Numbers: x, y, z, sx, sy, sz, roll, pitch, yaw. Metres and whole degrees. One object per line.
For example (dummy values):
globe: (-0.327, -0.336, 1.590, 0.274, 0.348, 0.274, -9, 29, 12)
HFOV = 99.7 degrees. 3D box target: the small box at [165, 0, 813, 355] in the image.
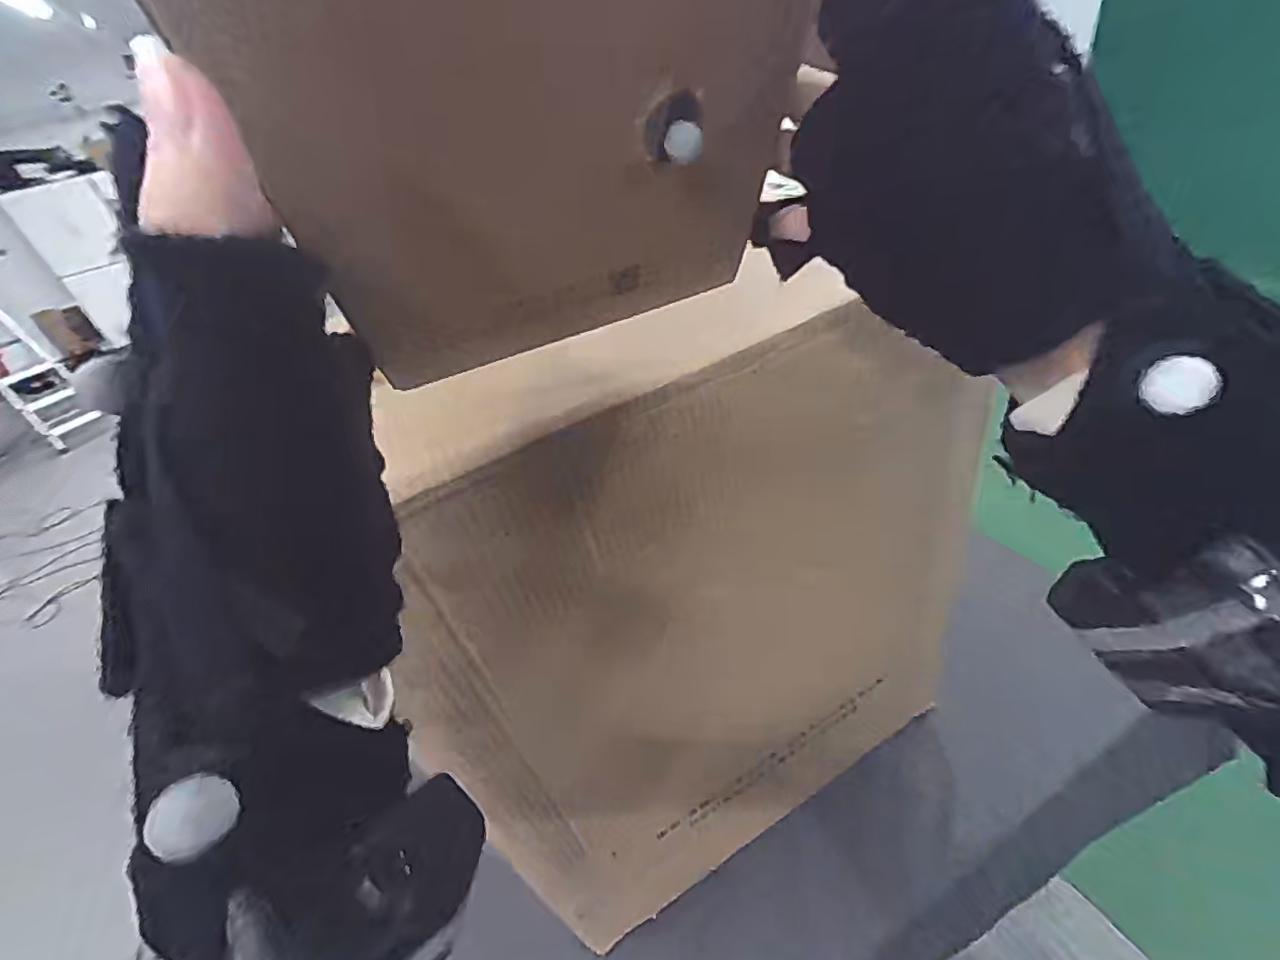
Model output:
small box: (-0.052, -0.168, 0.198, 0.168, 0.176, 0.179, -21, 71, -13)
